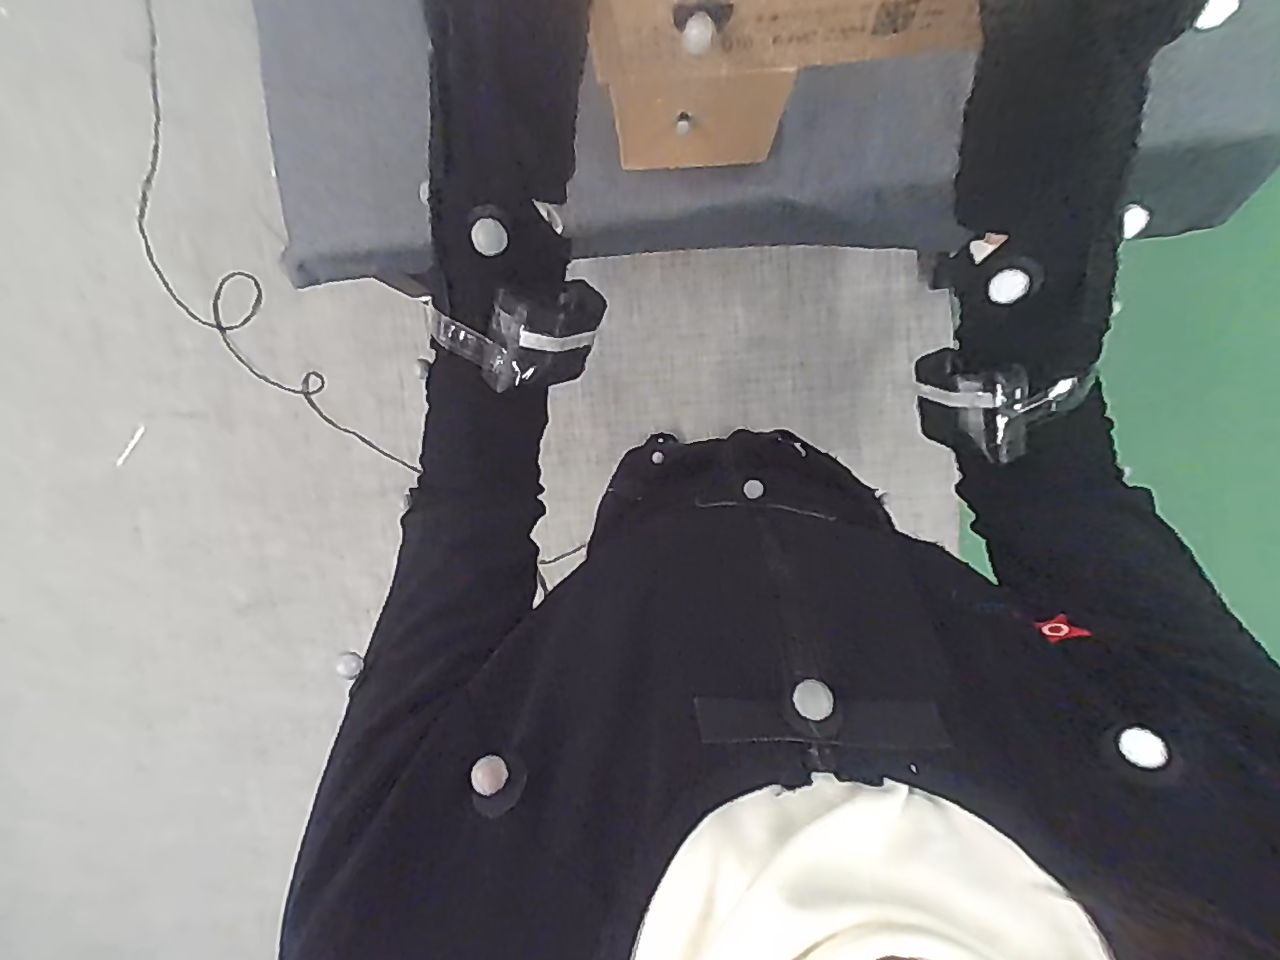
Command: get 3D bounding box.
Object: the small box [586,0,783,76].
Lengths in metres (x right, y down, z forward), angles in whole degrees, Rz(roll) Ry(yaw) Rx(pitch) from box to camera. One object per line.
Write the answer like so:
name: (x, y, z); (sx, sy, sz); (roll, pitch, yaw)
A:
small box: (0.040, -0.459, 0.421); (0.179, 0.176, 0.168); (-3, 93, 4)

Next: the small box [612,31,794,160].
small box: (0.061, -0.471, 0.582); (0.179, 0.176, 0.168); (-1, 94, 4)
